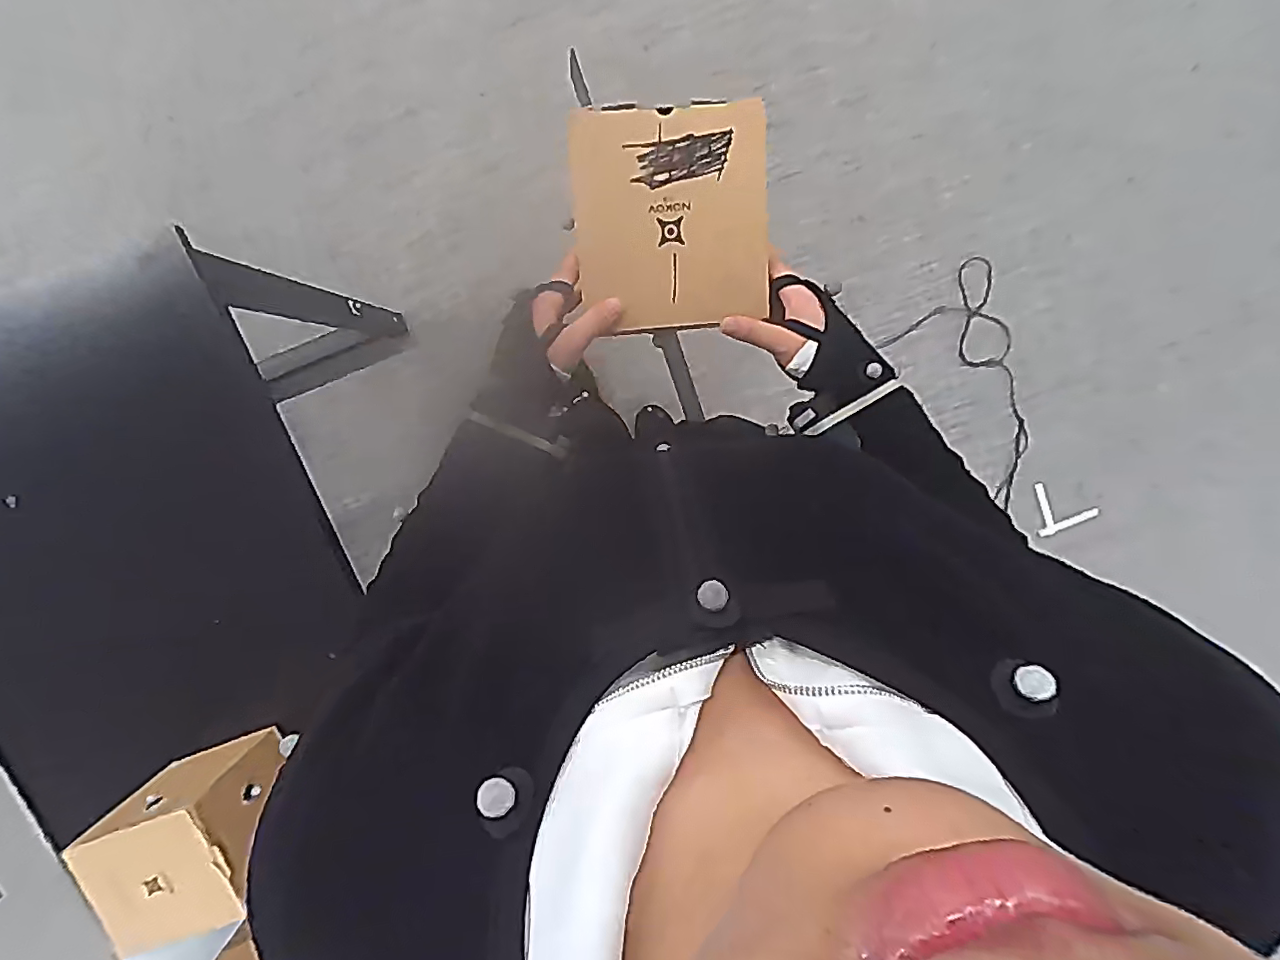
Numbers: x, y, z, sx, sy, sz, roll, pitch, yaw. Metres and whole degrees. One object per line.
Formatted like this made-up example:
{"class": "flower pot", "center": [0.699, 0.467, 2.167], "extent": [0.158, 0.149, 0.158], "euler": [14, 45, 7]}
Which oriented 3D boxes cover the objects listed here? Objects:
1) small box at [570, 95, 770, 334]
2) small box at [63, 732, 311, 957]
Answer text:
{"class": "small box", "center": [0.022, -0.241, 0.532], "extent": [0.168, 0.176, 0.179], "euler": [-6, 104, -2]}
{"class": "small box", "center": [-0.593, 0.482, 0.742], "extent": [0.179, 0.176, 0.168], "euler": [-21, 98, 3]}
